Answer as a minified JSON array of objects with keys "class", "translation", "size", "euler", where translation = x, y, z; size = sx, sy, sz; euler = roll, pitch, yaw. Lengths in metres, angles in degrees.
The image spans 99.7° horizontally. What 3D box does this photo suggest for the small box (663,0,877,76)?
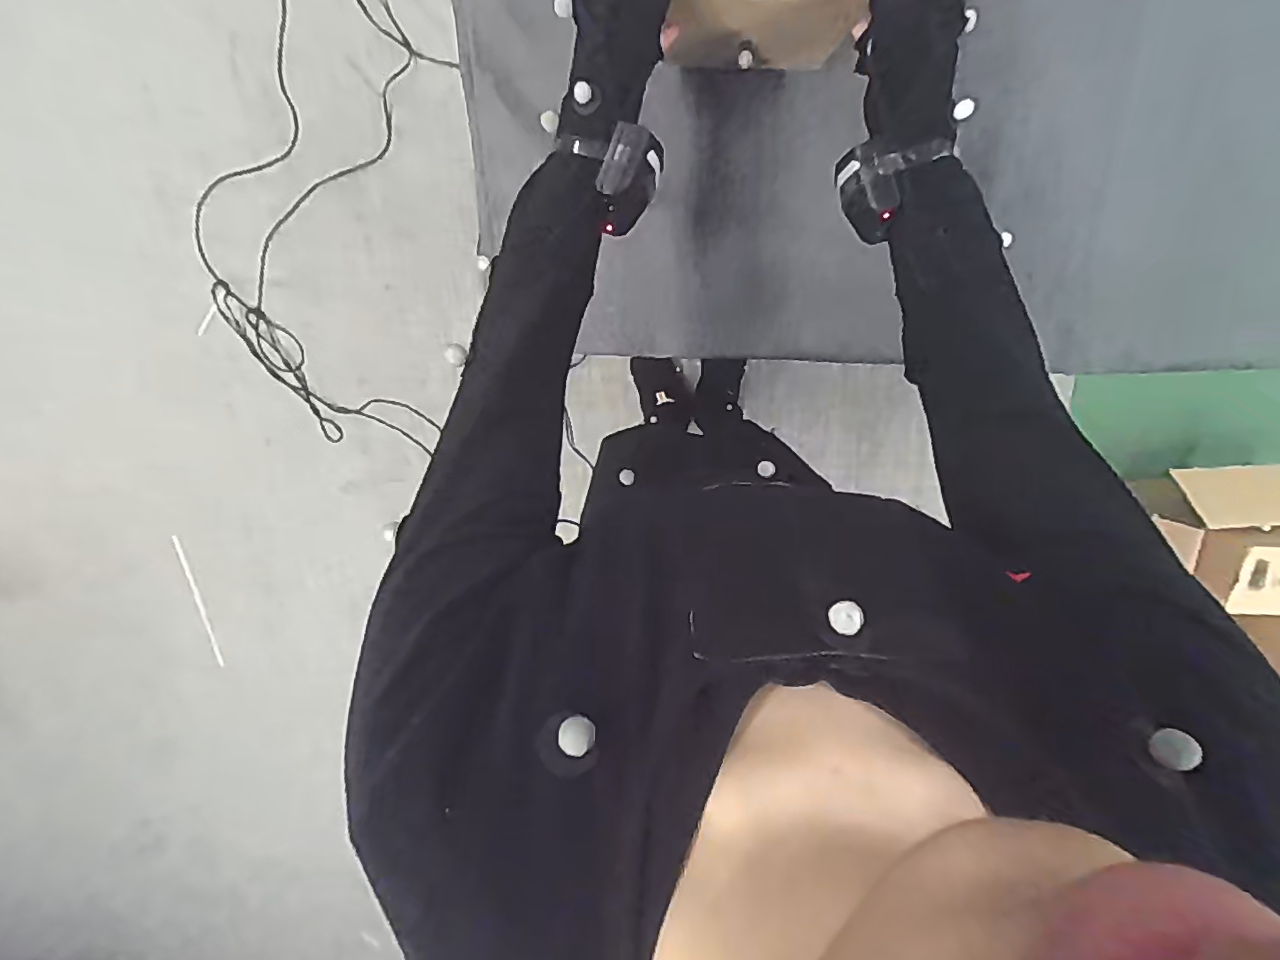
[{"class":"small box","translation":[0.105,-0.473,0.450],"size":[0.168,0.176,0.179],"euler":[1,110,1]}]
